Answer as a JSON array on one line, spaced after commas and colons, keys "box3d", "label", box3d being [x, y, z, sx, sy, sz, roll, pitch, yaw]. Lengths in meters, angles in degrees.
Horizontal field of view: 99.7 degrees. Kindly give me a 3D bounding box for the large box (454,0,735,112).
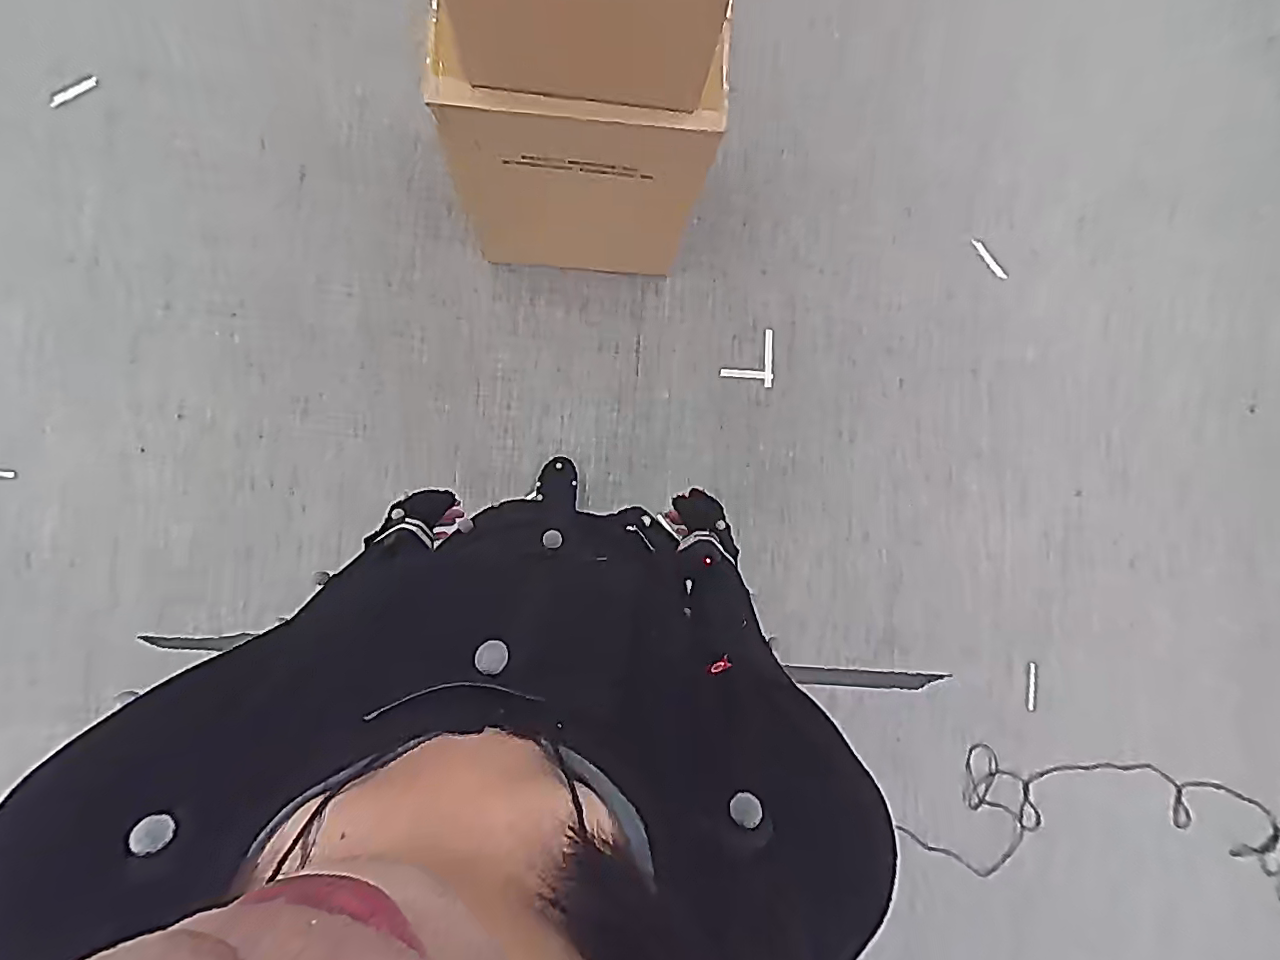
[{"box3d": [-0.070, -0.821, 0.811, 0.408, 0.320, 0.320, 2, 88, -7], "label": "large box"}]
